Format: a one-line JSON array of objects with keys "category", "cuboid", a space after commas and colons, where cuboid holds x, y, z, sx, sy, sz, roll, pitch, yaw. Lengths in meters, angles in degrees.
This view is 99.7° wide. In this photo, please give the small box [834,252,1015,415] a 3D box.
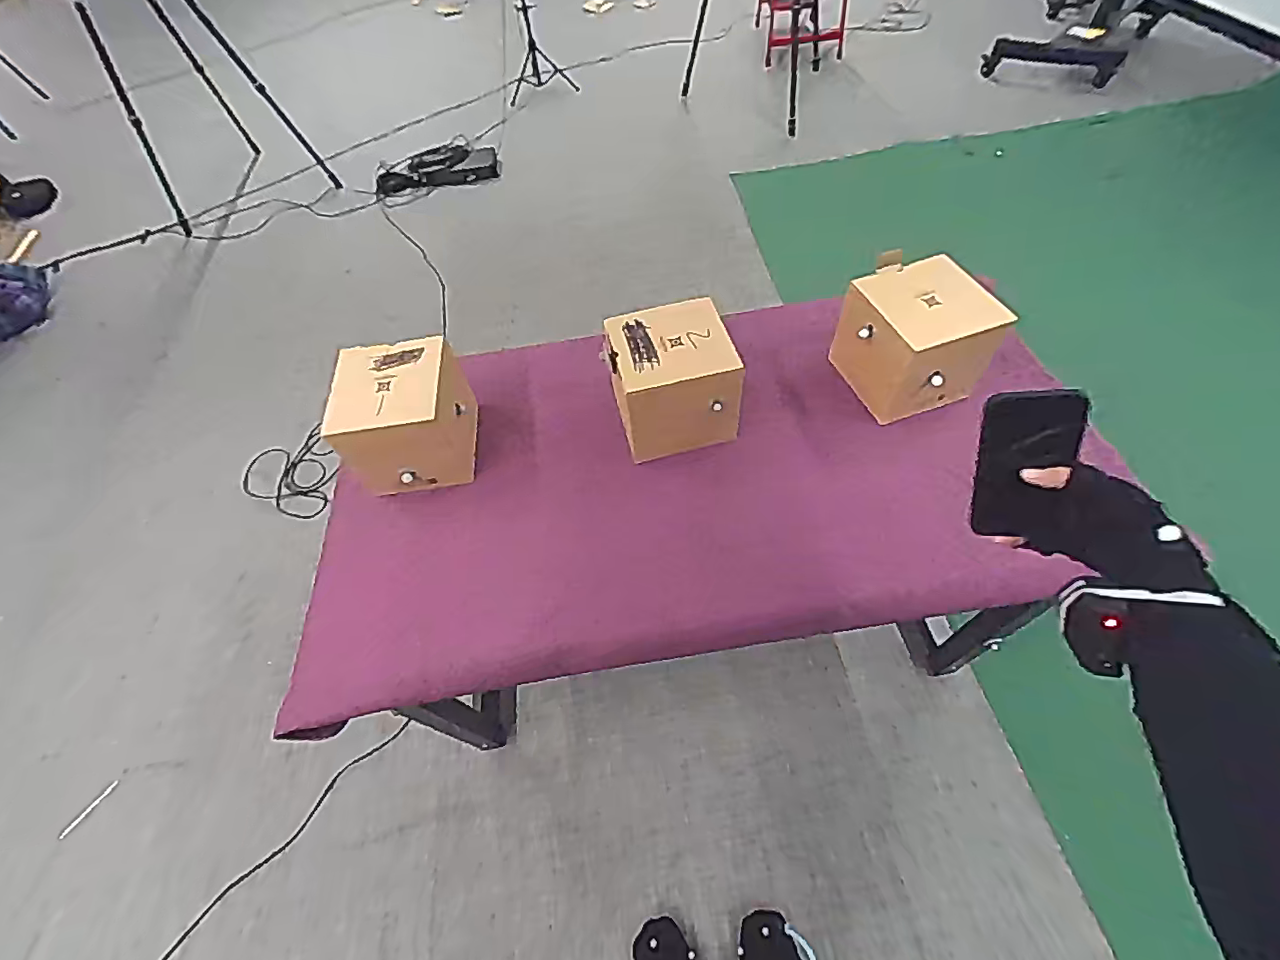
[{"category": "small box", "cuboid": [0.437, -0.225, 0.867, 0.168, 0.176, 0.179, -18, 56, -6]}]

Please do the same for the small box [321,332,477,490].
[{"category": "small box", "cuboid": [-0.368, -0.106, 0.864, 0.168, 0.176, 0.179, -8, 58, 0]}]
